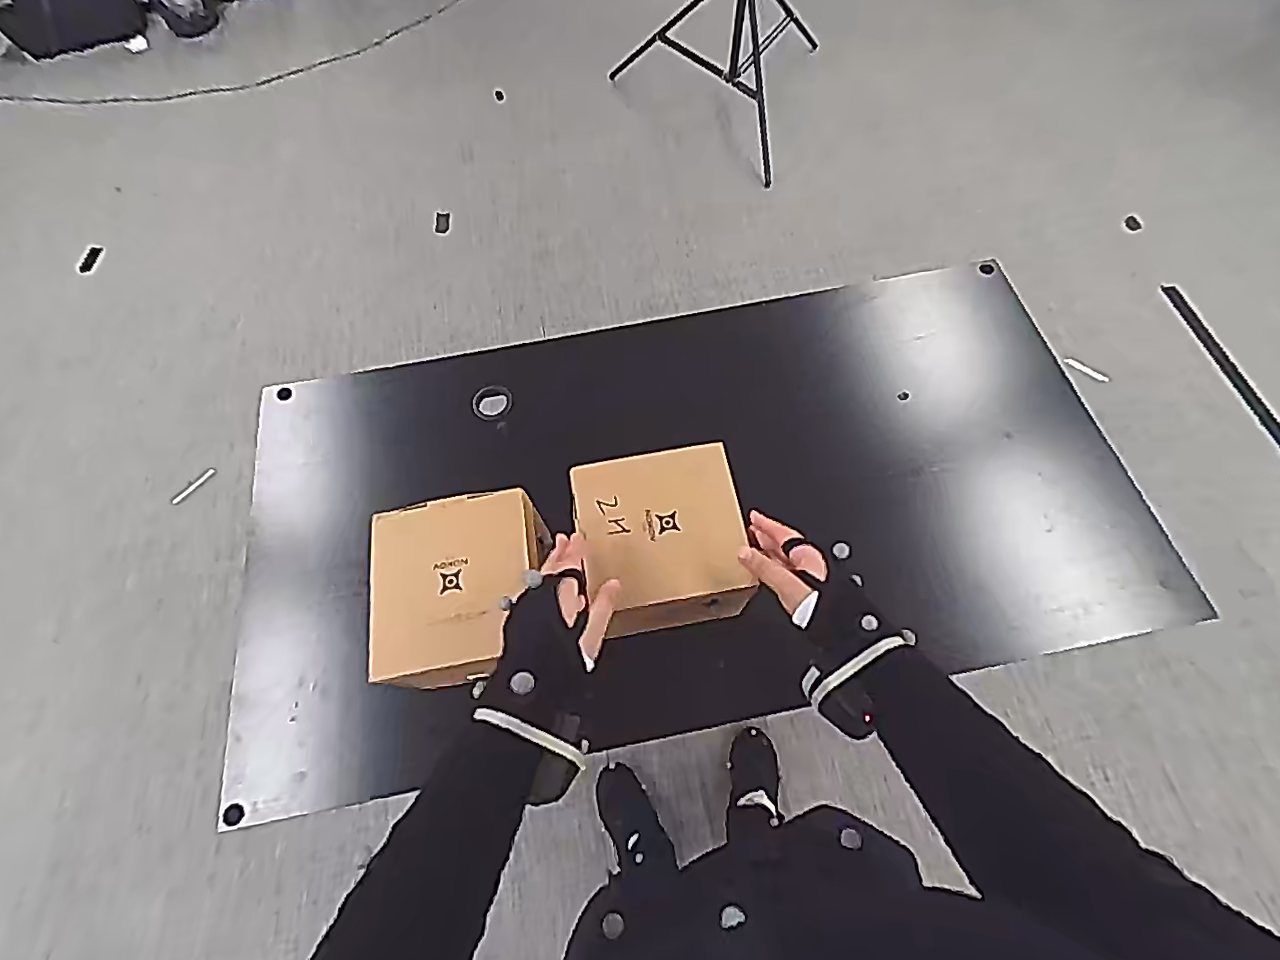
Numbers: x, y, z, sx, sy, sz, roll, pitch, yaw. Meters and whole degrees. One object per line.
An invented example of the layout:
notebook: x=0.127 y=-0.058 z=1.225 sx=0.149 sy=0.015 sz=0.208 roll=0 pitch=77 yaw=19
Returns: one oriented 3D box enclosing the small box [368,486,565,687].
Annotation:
small box: x=-0.189 y=0.130 z=0.620 sx=0.168 sy=0.176 sz=0.179 roll=-11 pitch=67 yaw=-2
